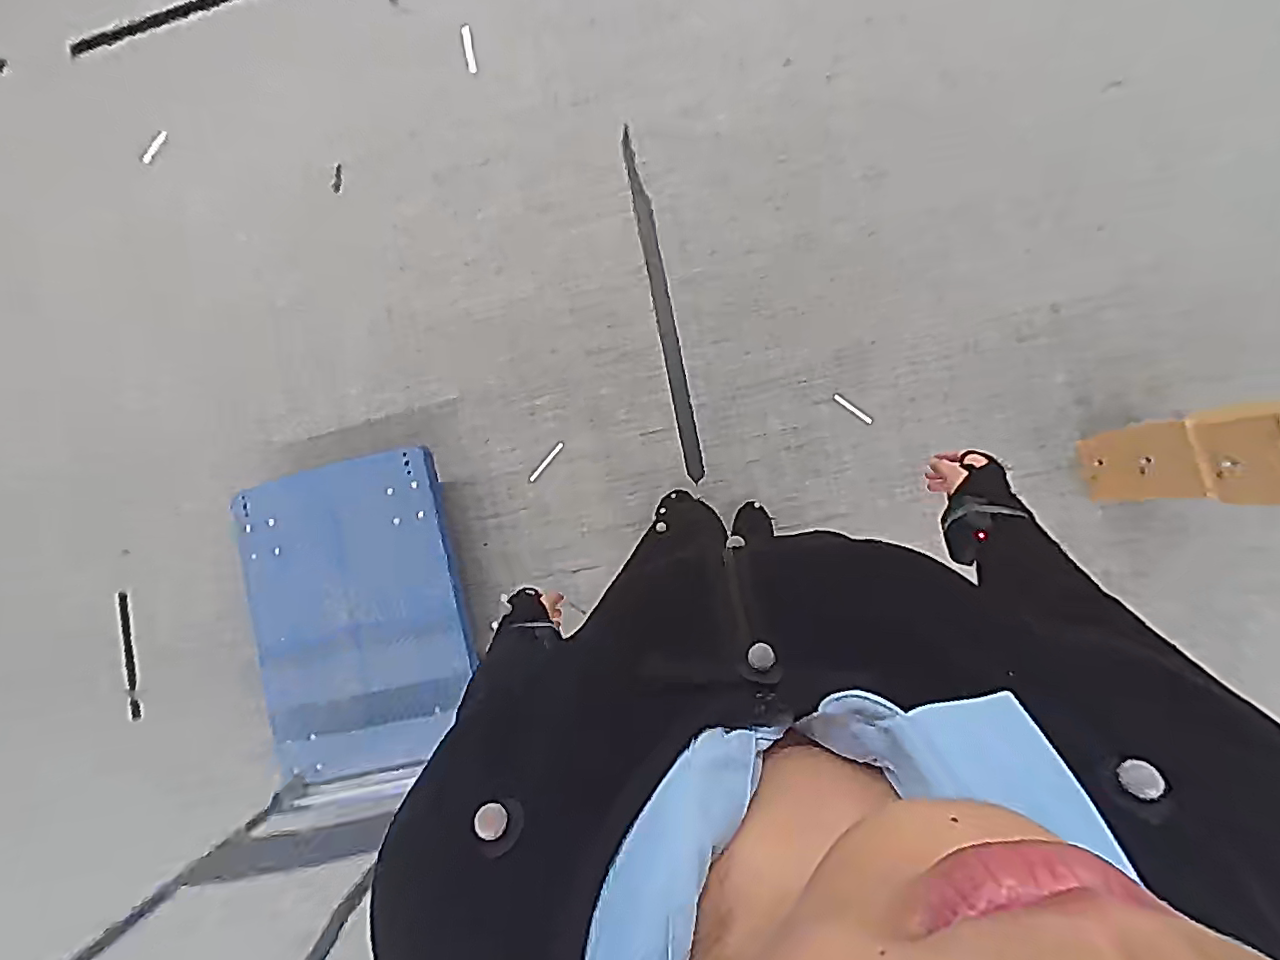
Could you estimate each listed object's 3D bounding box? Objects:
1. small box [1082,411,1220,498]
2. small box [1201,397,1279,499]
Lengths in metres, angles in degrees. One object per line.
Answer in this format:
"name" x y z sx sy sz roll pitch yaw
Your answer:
"small box" 1.223 -0.057 1.293 0.179 0.176 0.168 -14 86 7
"small box" 1.189 -0.067 0.965 0.179 0.176 0.168 -18 85 7
